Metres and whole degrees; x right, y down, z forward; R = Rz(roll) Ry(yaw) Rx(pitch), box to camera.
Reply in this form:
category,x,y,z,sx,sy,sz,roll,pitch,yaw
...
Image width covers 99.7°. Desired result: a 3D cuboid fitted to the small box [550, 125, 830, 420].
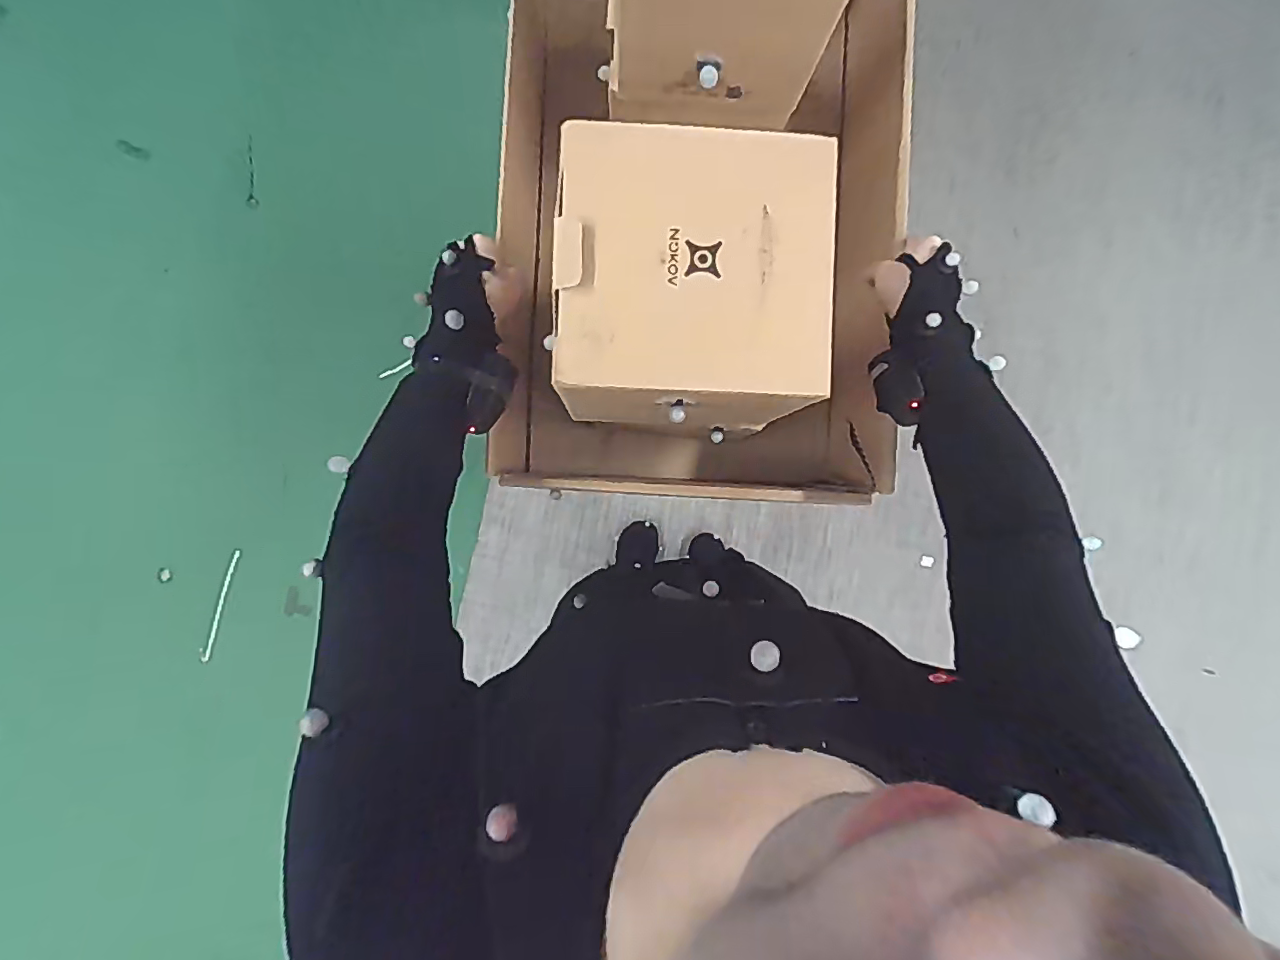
category,x,y,z,sx,sy,sz,roll,pitch,yaw
small box,0.029,-0.138,0.422,0.179,0.176,0.168,1,91,-4

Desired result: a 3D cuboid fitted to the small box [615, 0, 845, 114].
category,x,y,z,sx,sy,sz,roll,pitch,yaw
small box,0.067,-0.429,0.417,0.168,0.176,0.179,2,92,-2
